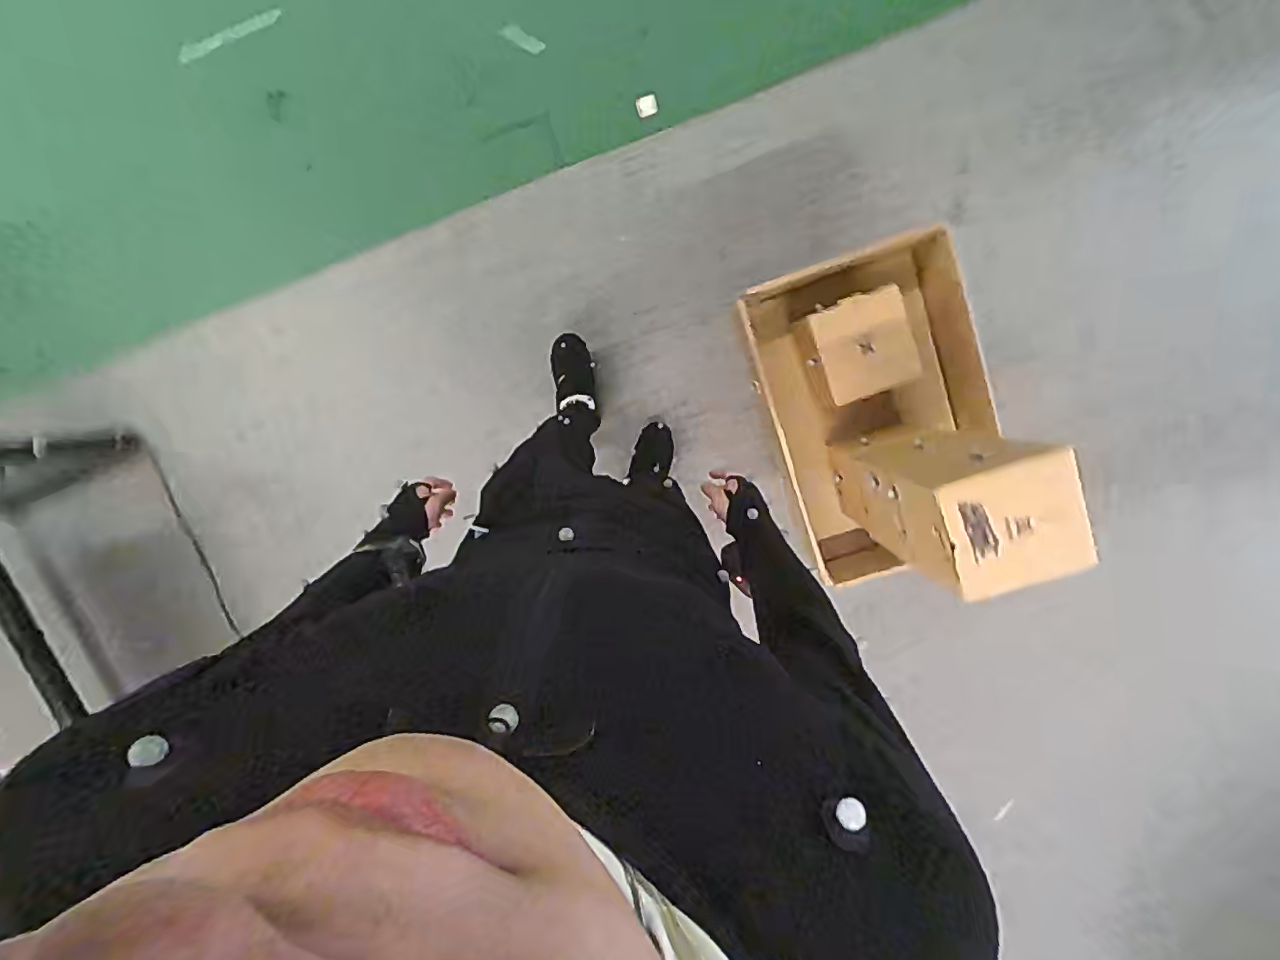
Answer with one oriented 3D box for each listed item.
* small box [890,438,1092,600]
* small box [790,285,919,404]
[{"bbox_3d":[0.481,0.046,0.773,0.179,0.176,0.168,-17,99,4],"label":"small box"},{"bbox_3d":[0.409,-0.258,1.058,0.168,0.176,0.179,-18,100,6],"label":"small box"}]
